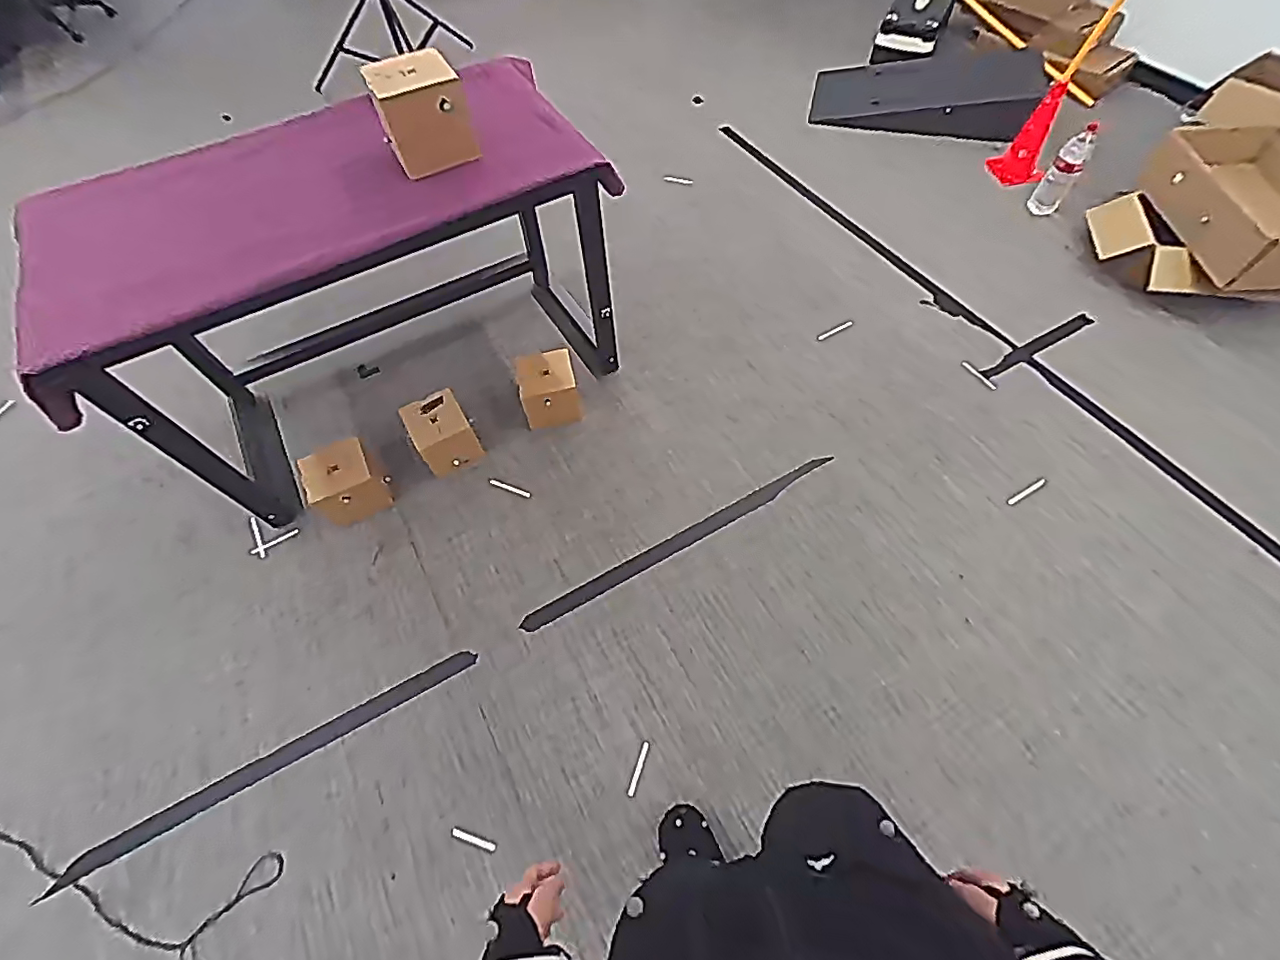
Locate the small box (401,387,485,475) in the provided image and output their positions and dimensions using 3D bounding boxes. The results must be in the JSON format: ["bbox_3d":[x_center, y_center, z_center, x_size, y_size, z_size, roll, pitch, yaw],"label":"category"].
[{"bbox_3d":[-0.605,-0.147,1.675,0.168,0.176,0.179,-29,64,-13],"label":"small box"}]

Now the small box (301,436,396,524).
[{"bbox_3d":[-0.859,0.006,1.601,0.179,0.176,0.168,-25,63,-12],"label":"small box"}]

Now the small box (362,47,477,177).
[{"bbox_3d":[-0.483,-0.822,1.213,0.179,0.176,0.168,-26,62,-11],"label":"small box"}]

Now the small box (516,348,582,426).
[{"bbox_3d":[-0.289,-0.297,1.748,0.179,0.176,0.168,-13,61,-4],"label":"small box"}]
